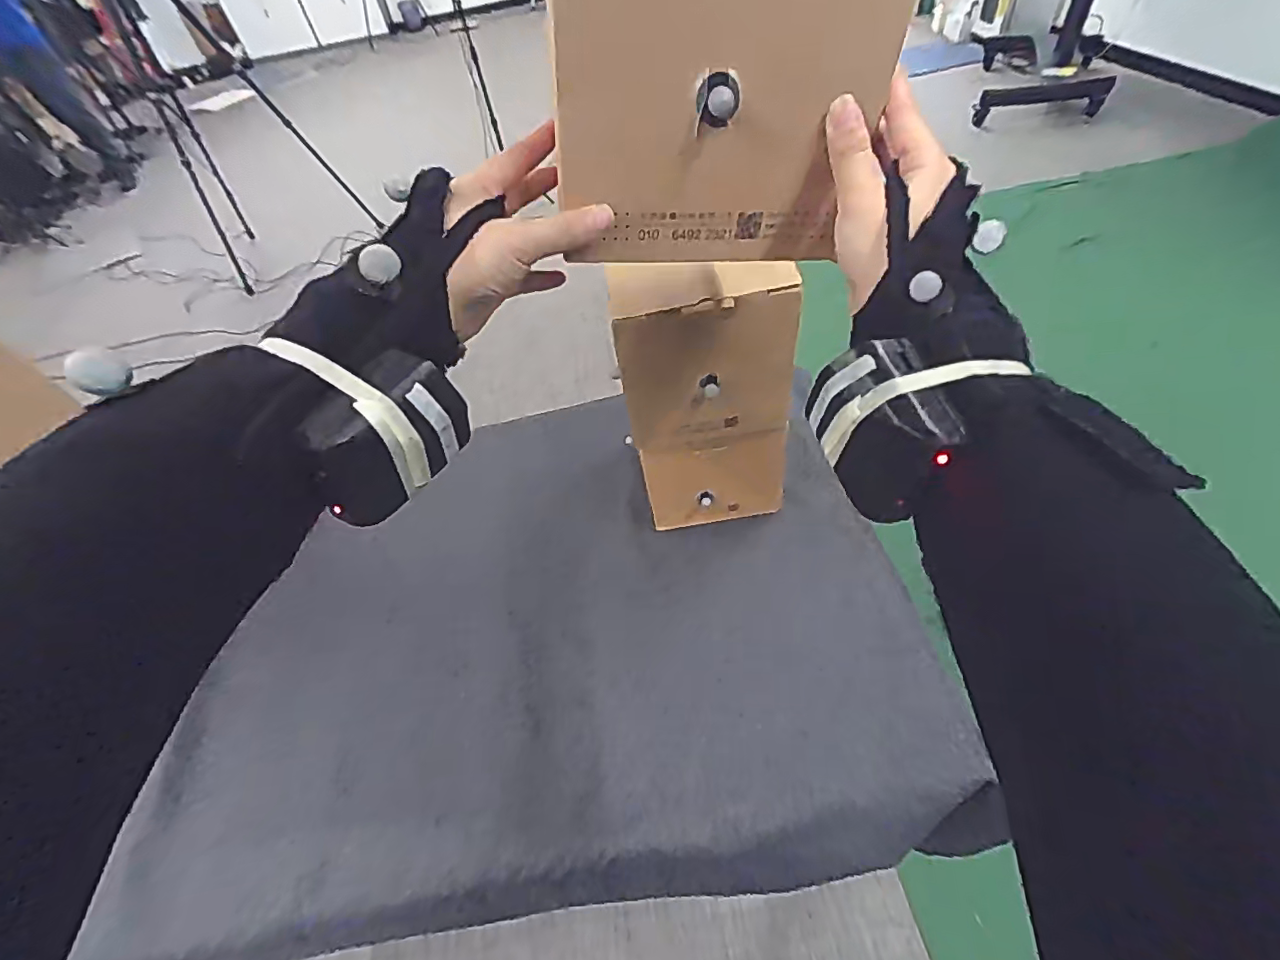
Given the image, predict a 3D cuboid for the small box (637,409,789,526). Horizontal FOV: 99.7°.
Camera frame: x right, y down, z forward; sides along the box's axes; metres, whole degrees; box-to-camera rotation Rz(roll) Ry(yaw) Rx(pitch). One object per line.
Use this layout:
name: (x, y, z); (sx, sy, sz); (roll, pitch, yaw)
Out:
small box: (0.081, -0.066, 0.694); (0.168, 0.176, 0.179); (-10, 52, 2)

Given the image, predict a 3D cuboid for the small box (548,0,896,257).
small box: (0.031, -0.245, 0.320); (0.168, 0.176, 0.179); (-4, 45, -7)

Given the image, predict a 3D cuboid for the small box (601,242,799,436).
small box: (0.057, -0.162, 0.563); (0.168, 0.176, 0.179); (-9, 52, 2)
